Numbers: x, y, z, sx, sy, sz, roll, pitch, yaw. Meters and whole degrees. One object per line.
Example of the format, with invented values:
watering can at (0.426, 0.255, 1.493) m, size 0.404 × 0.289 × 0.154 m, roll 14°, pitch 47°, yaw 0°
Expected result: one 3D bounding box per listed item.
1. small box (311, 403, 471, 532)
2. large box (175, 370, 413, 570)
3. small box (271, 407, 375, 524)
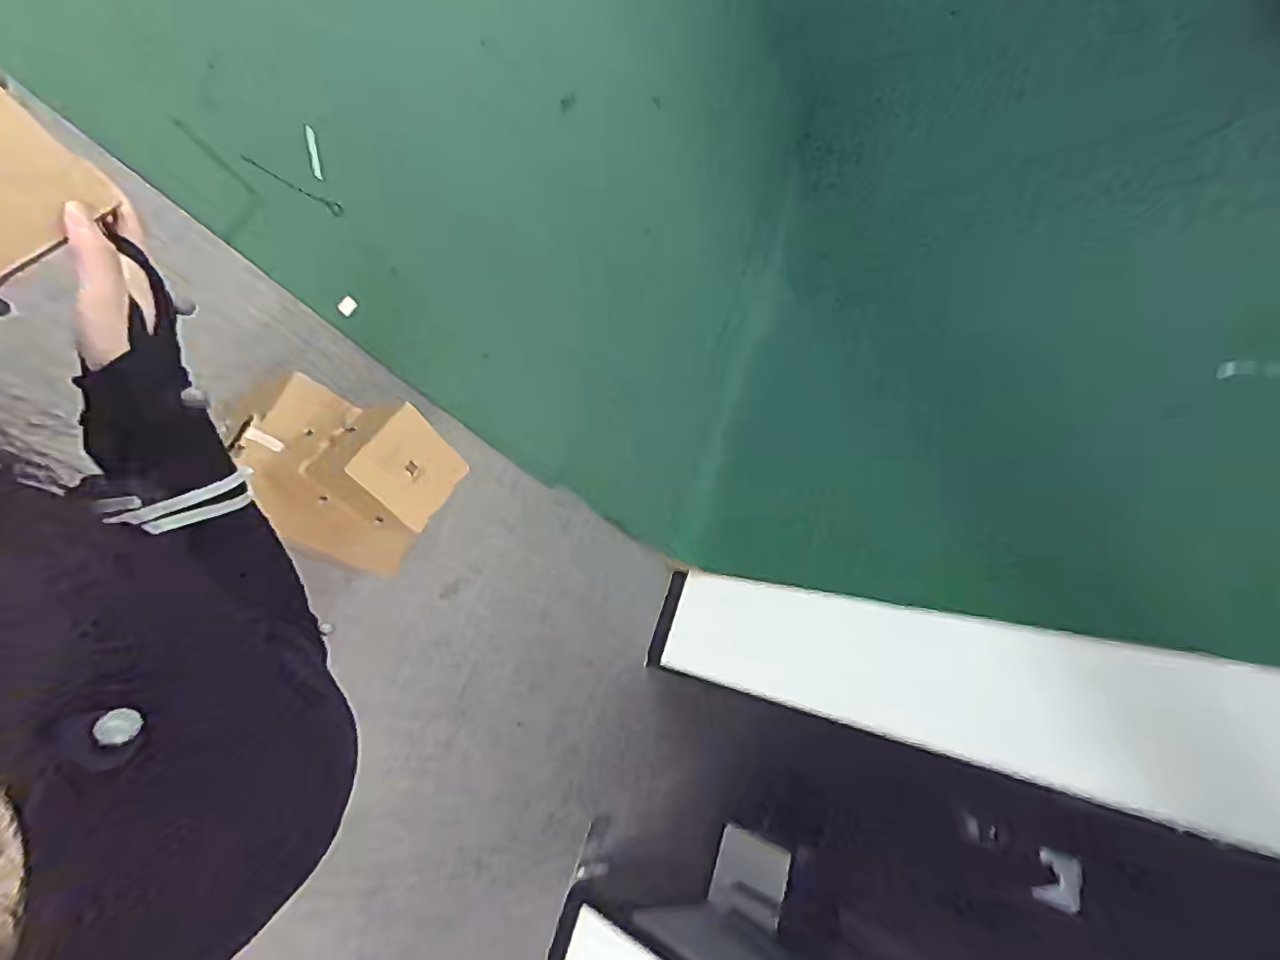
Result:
small box at (-0.465, -0.025, 1.015) m, size 0.179 × 0.176 × 0.168 m, roll 56°, pitch 50°, yaw -36°
large box at (-0.765, -0.013, 1.292) m, size 0.408 × 0.320 × 0.320 m, roll 42°, pitch 61°, yaw -46°
small box at (-0.599, -0.032, 1.107) m, size 0.179 × 0.176 × 0.168 m, roll 53°, pitch 52°, yaw -39°
